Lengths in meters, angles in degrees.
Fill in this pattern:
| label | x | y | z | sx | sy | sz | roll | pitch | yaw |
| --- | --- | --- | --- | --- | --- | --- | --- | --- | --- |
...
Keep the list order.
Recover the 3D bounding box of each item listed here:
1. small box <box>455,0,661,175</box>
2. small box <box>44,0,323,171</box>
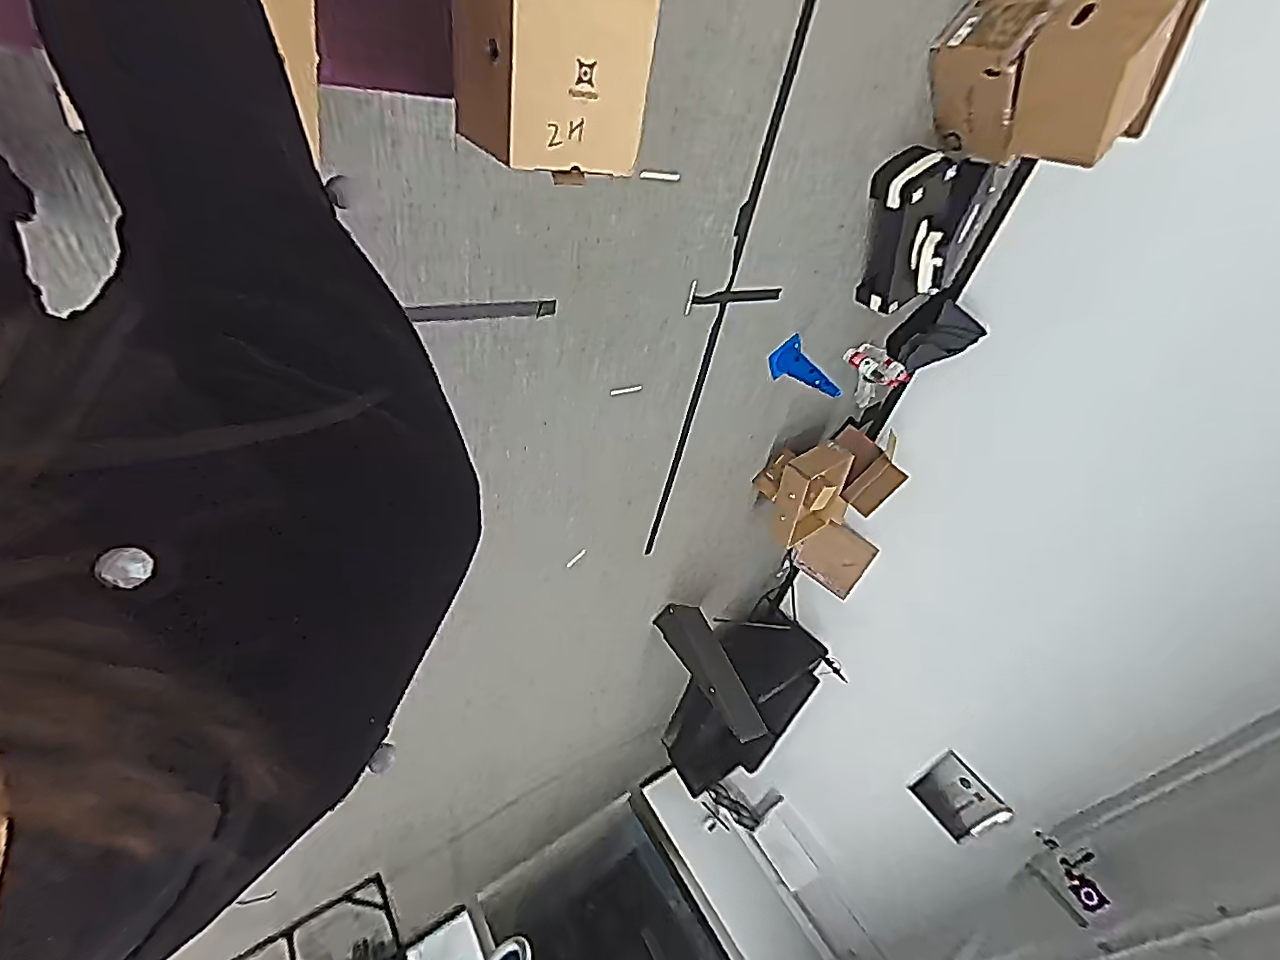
| label | x | y | z | sx | sy | sz | roll | pitch | yaw |
| --- | --- | --- | --- | --- | --- | --- | --- | --- | --- |
| small box | -0.103 | -0.473 | 0.618 | 0.168 | 0.176 | 0.179 | -16 | 138 | -31 |
| small box | -0.374 | -0.389 | 0.444 | 0.168 | 0.176 | 0.179 | -11 | 137 | -37 |
